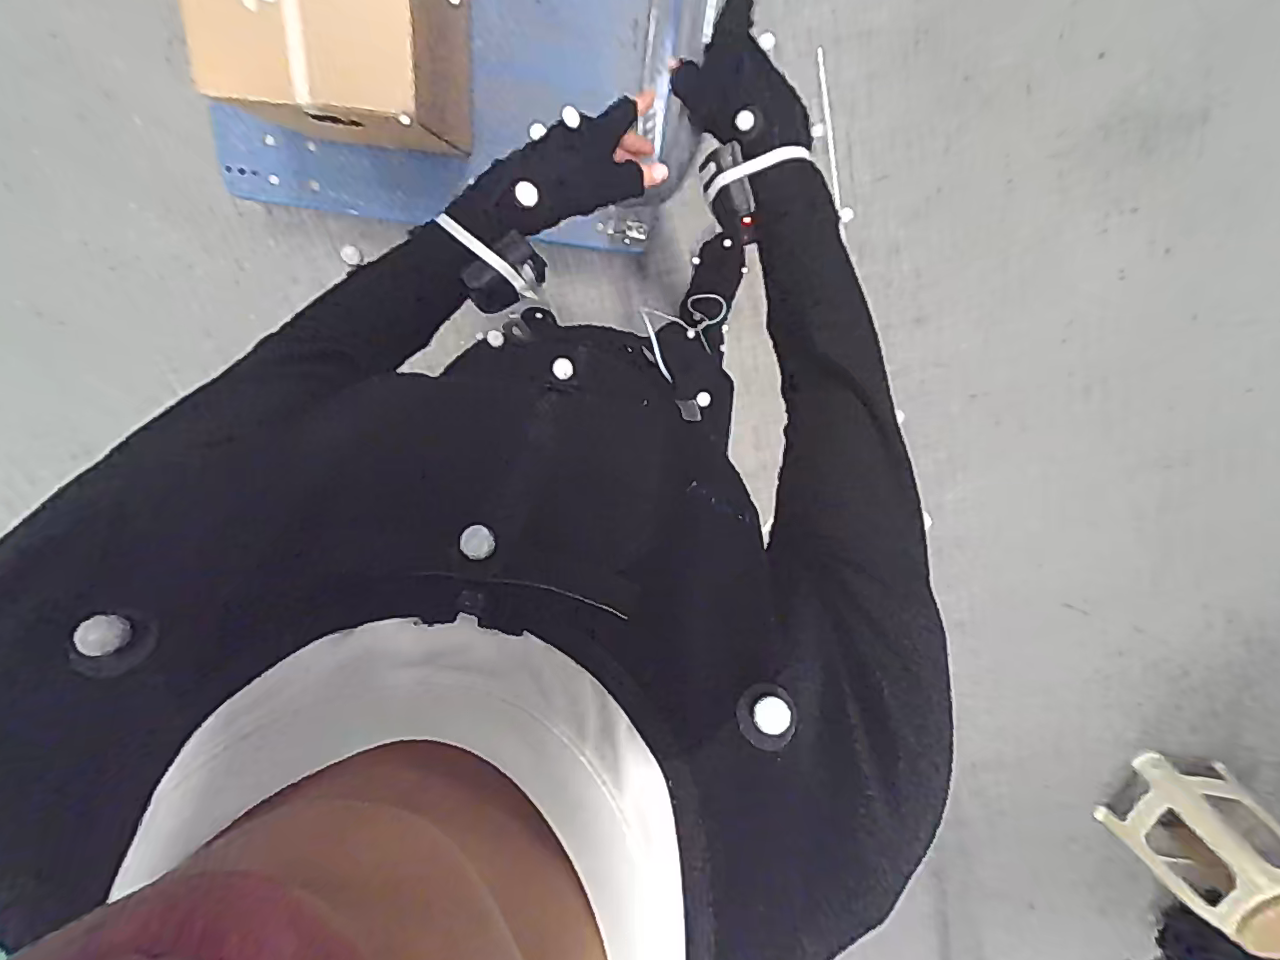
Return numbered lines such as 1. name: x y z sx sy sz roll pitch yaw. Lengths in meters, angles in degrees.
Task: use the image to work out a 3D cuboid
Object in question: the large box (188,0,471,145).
1. large box: -0.463 -0.797 0.848 0.320 0.320 0.408 5 113 -2
